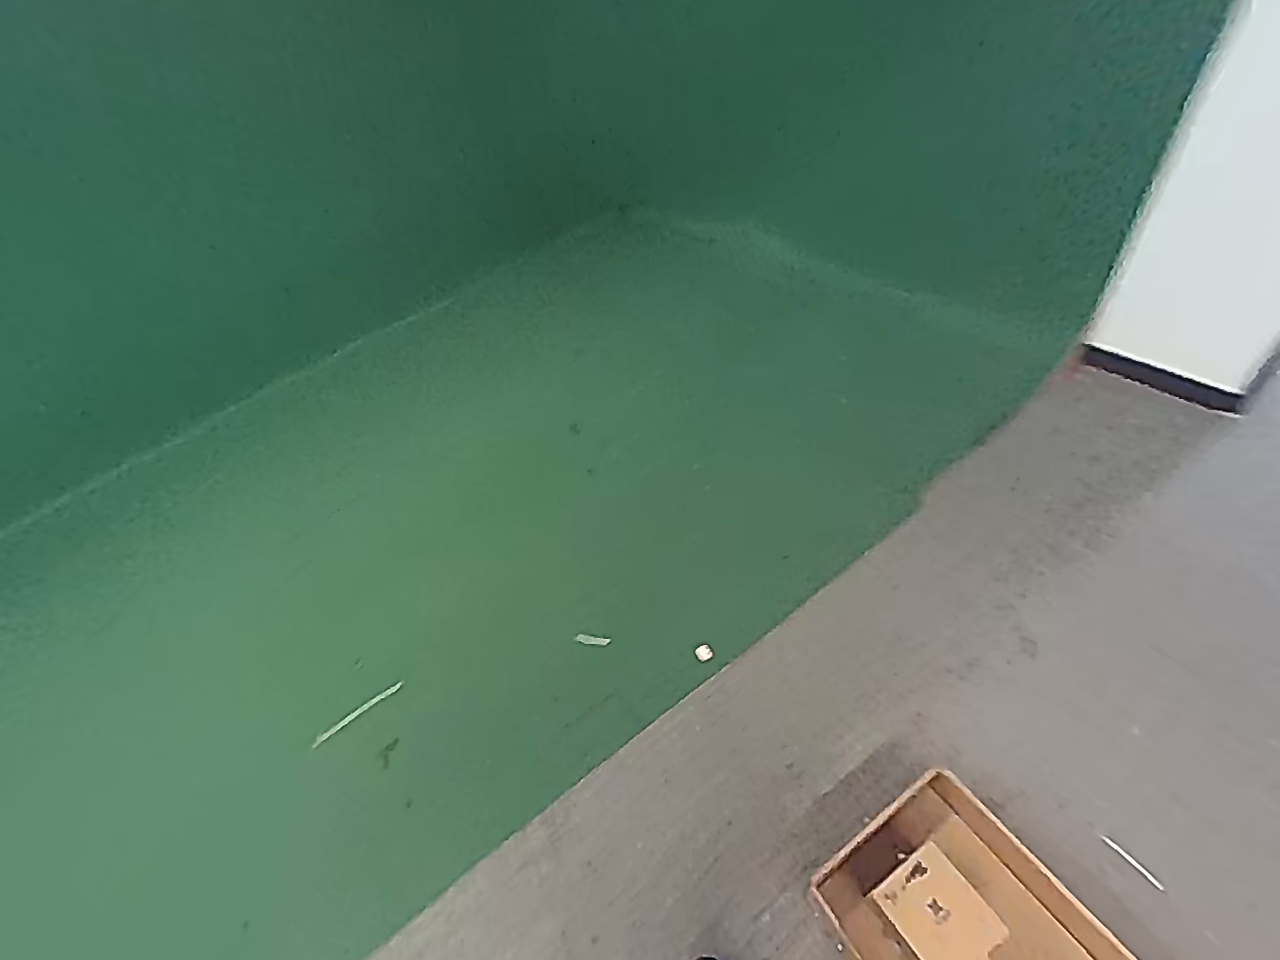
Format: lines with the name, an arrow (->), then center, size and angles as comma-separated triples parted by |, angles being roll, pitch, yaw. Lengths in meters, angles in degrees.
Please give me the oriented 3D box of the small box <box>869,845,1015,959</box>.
small box -> 0.586, 0.869, 1.074 | 0.168, 0.176, 0.179 | -31, 50, -12
